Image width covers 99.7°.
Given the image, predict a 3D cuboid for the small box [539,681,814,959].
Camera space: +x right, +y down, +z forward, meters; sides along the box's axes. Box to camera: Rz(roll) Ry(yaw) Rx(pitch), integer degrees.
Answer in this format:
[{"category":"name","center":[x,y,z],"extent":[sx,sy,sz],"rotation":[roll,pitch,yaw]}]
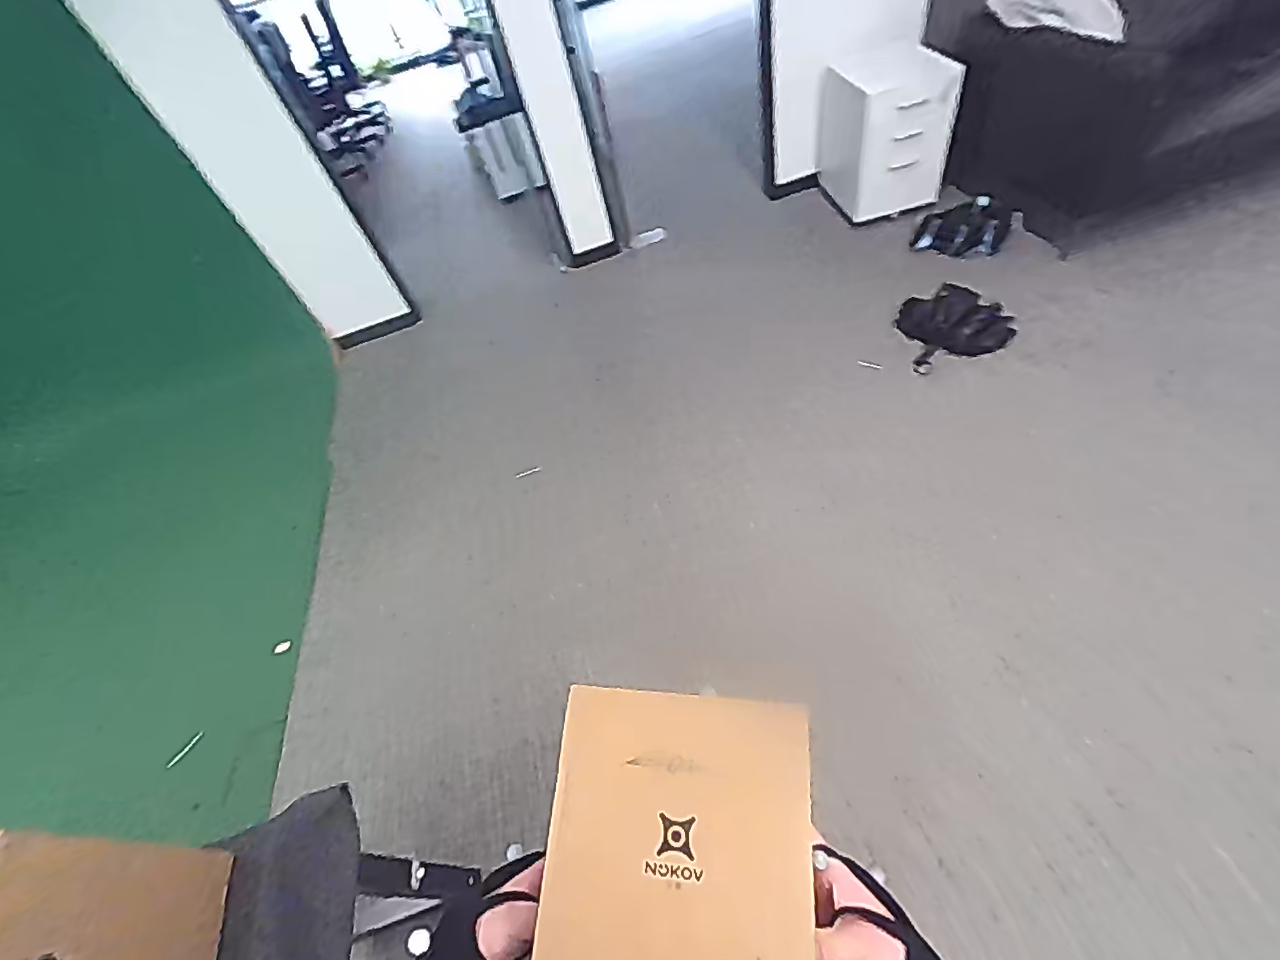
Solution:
[{"category":"small box","center":[0.037,0.262,0.417],"extent":[0.168,0.176,0.179],"rotation":[1,63,9]}]
